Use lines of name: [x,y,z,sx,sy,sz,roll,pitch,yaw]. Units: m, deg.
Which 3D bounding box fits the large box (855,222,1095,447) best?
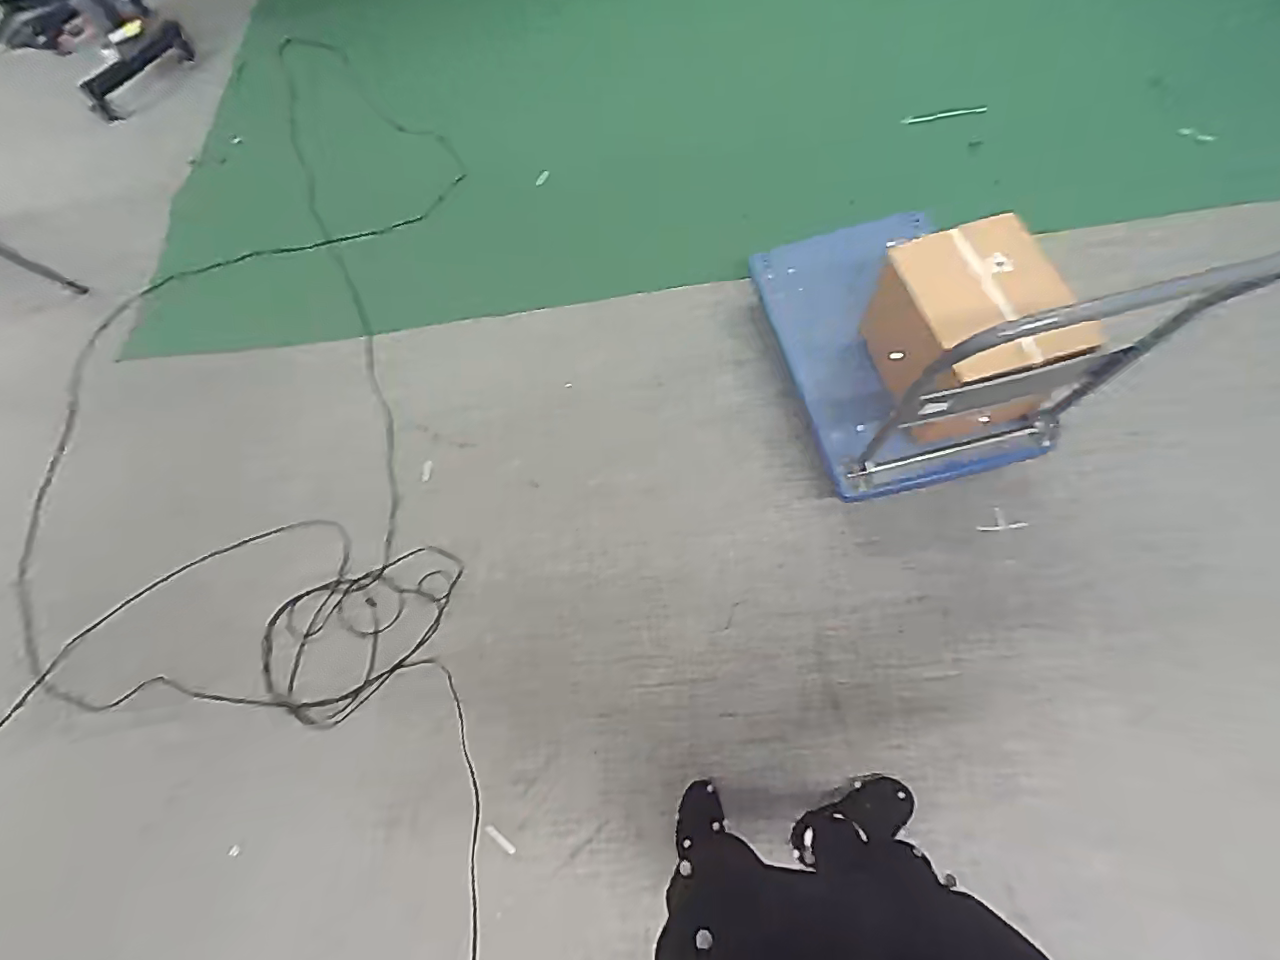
large box: [0.798,-0.353,1.367,0.320,0.320,0.408,-16,66,1]
